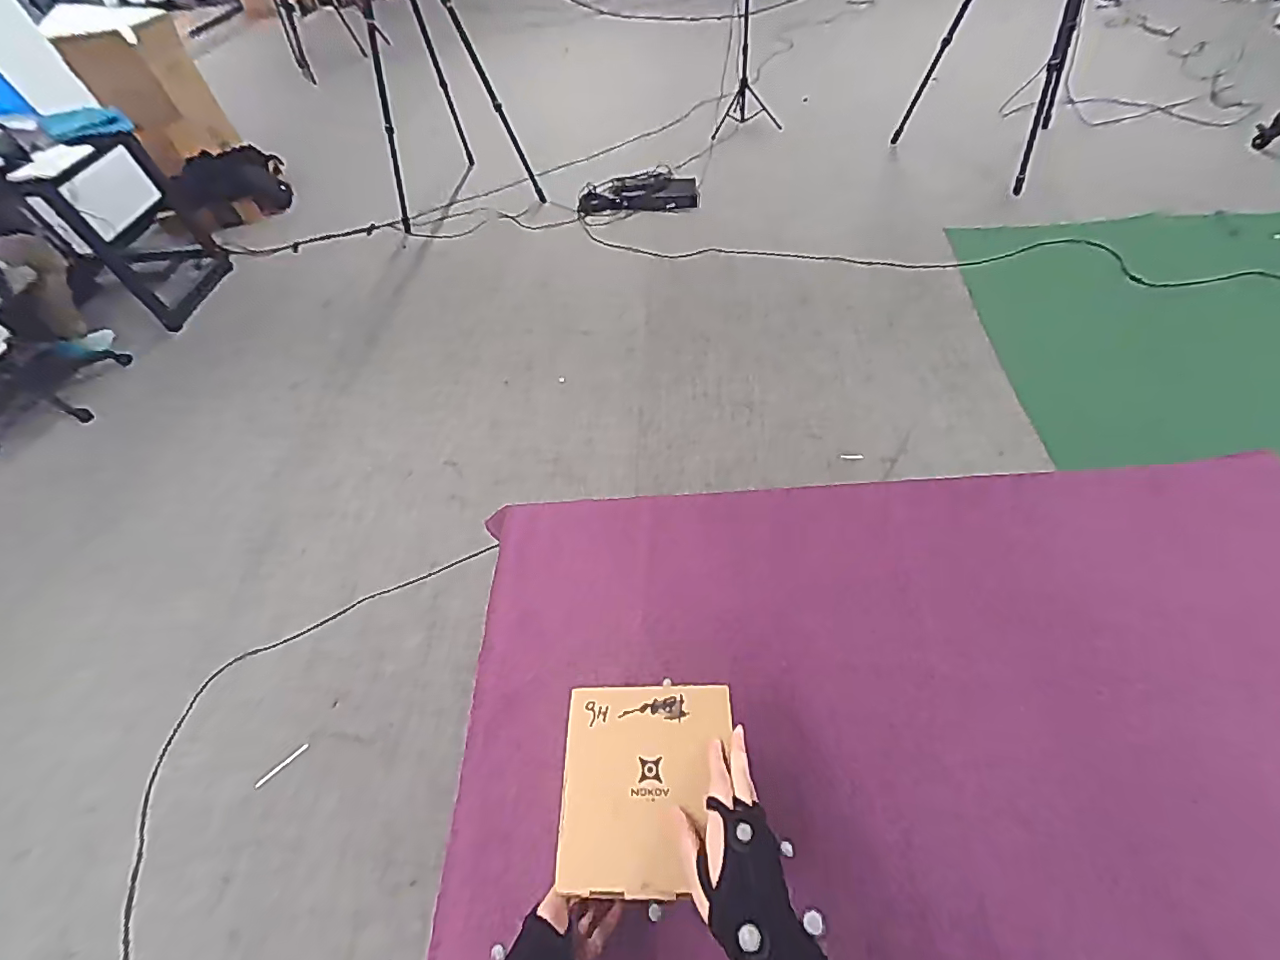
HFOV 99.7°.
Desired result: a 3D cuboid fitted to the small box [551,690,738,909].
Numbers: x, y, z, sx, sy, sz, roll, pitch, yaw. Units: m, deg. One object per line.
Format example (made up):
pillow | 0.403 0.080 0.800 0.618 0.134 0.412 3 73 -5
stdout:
small box | 0.014 0.334 0.571 0.168 0.176 0.179 -2 53 5
